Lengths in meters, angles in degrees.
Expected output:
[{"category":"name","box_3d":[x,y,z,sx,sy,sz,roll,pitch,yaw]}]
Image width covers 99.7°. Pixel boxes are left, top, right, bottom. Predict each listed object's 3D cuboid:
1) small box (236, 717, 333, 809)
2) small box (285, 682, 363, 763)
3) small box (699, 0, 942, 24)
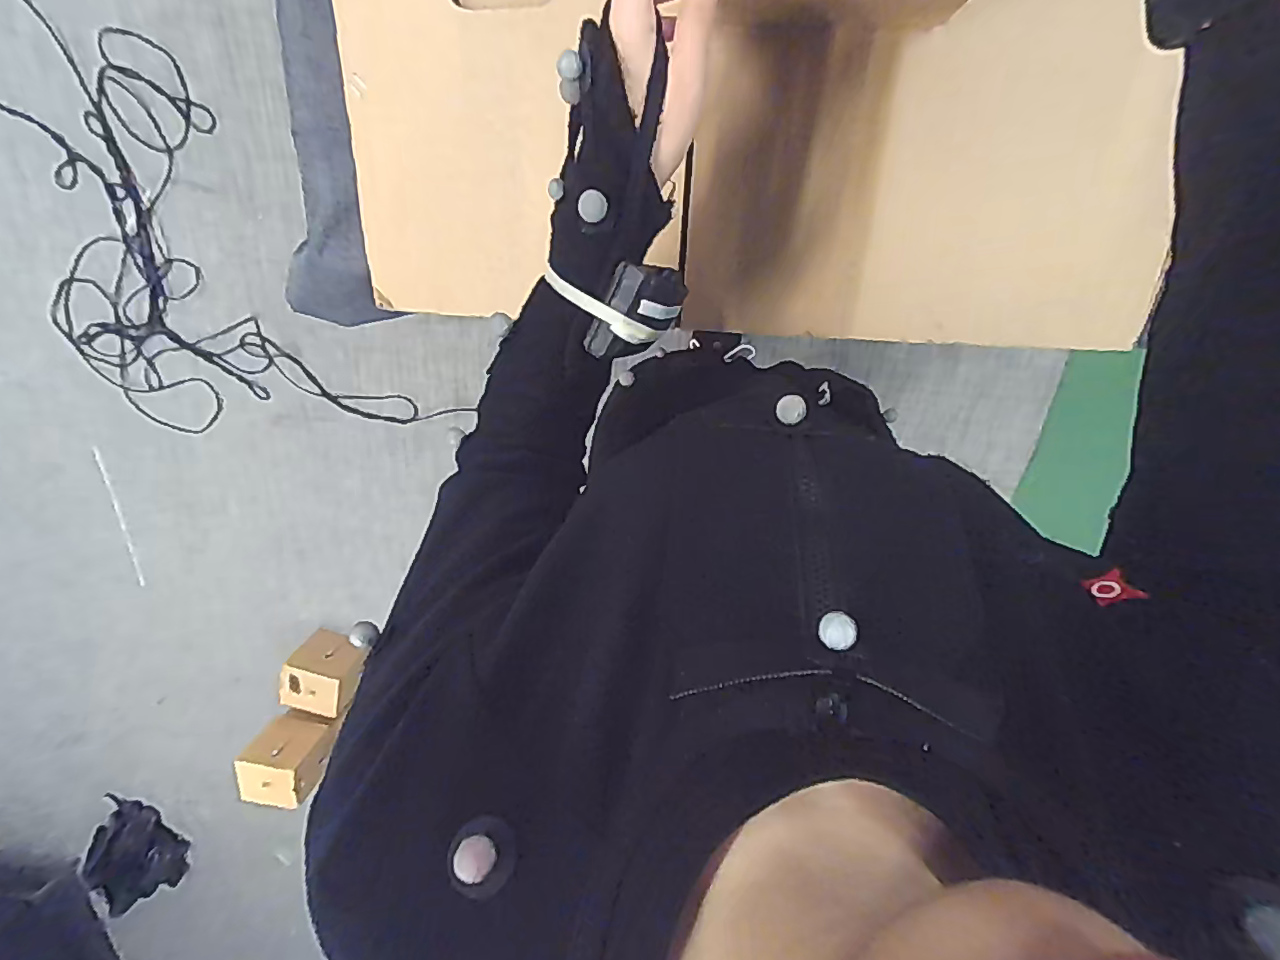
[{"category":"small box","box_3d":[-1.060,0.842,1.625,0.179,0.176,0.168,9,112,1]},{"category":"small box","box_3d":[-1.033,0.794,1.779,0.179,0.176,0.168,9,113,1]},{"category":"small box","box_3d":[0.122,-0.373,0.279,0.179,0.176,0.168,3,109,4]}]
